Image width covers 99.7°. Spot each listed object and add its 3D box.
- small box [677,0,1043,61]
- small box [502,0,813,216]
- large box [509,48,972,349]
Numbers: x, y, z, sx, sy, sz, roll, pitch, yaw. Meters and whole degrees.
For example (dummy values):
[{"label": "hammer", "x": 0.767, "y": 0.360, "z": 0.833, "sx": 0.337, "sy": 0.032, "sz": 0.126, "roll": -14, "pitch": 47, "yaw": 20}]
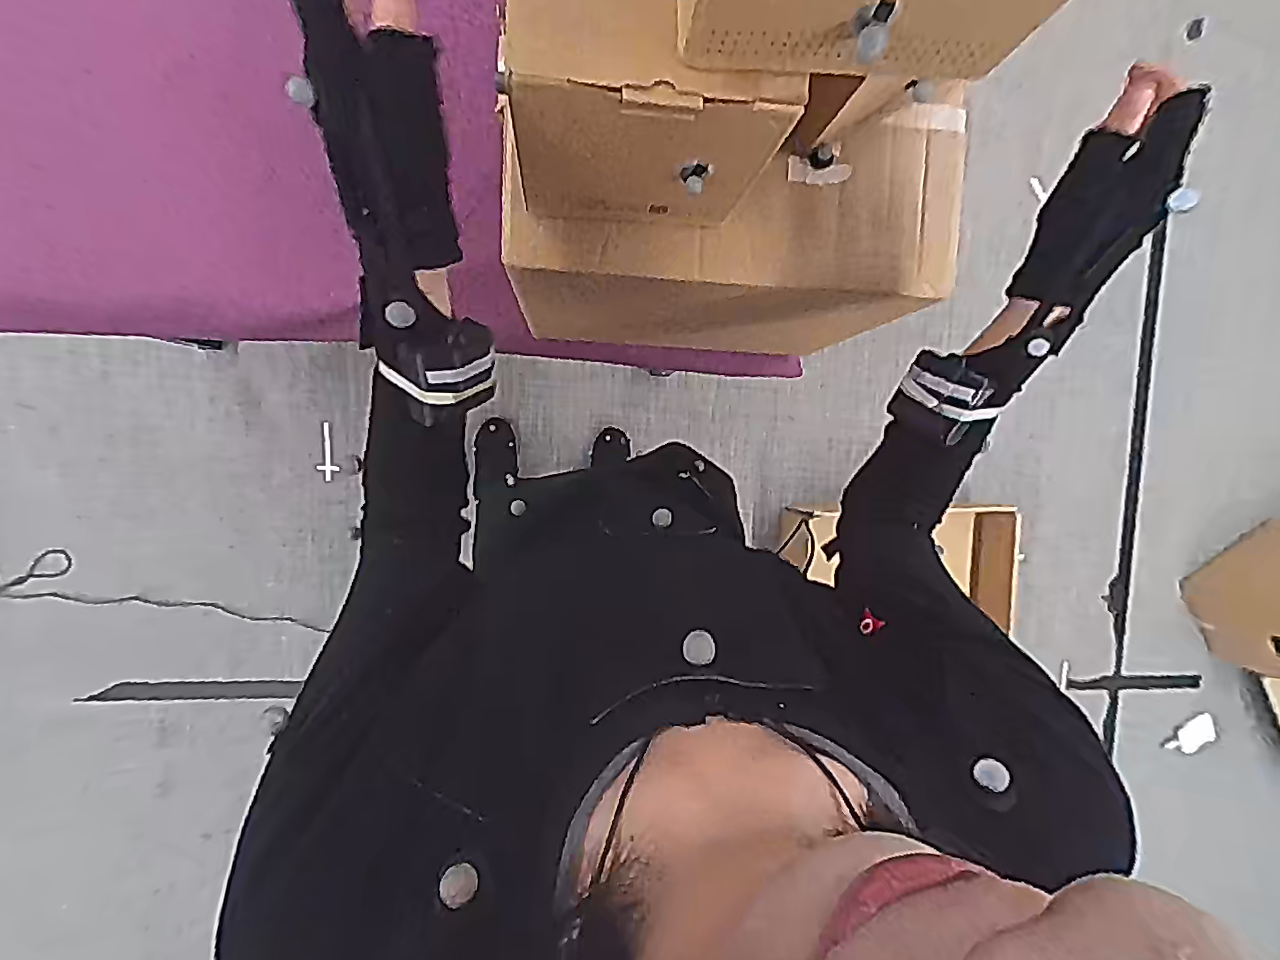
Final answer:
[{"label": "small box", "x": 0.114, "y": -0.297, "z": 0.201, "sx": 0.179, "sy": 0.176, "sz": 0.168, "roll": -2, "pitch": 94, "yaw": -6}, {"label": "small box", "x": 0.002, "y": -0.296, "z": 0.354, "sx": 0.168, "sy": 0.176, "sz": 0.179, "roll": 0, "pitch": 93, "yaw": -8}, {"label": "large box", "x": 0.073, "y": -0.335, "z": 0.604, "sx": 0.408, "sy": 0.320, "sz": 0.320, "roll": 1, "pitch": 94, "yaw": -7}]
